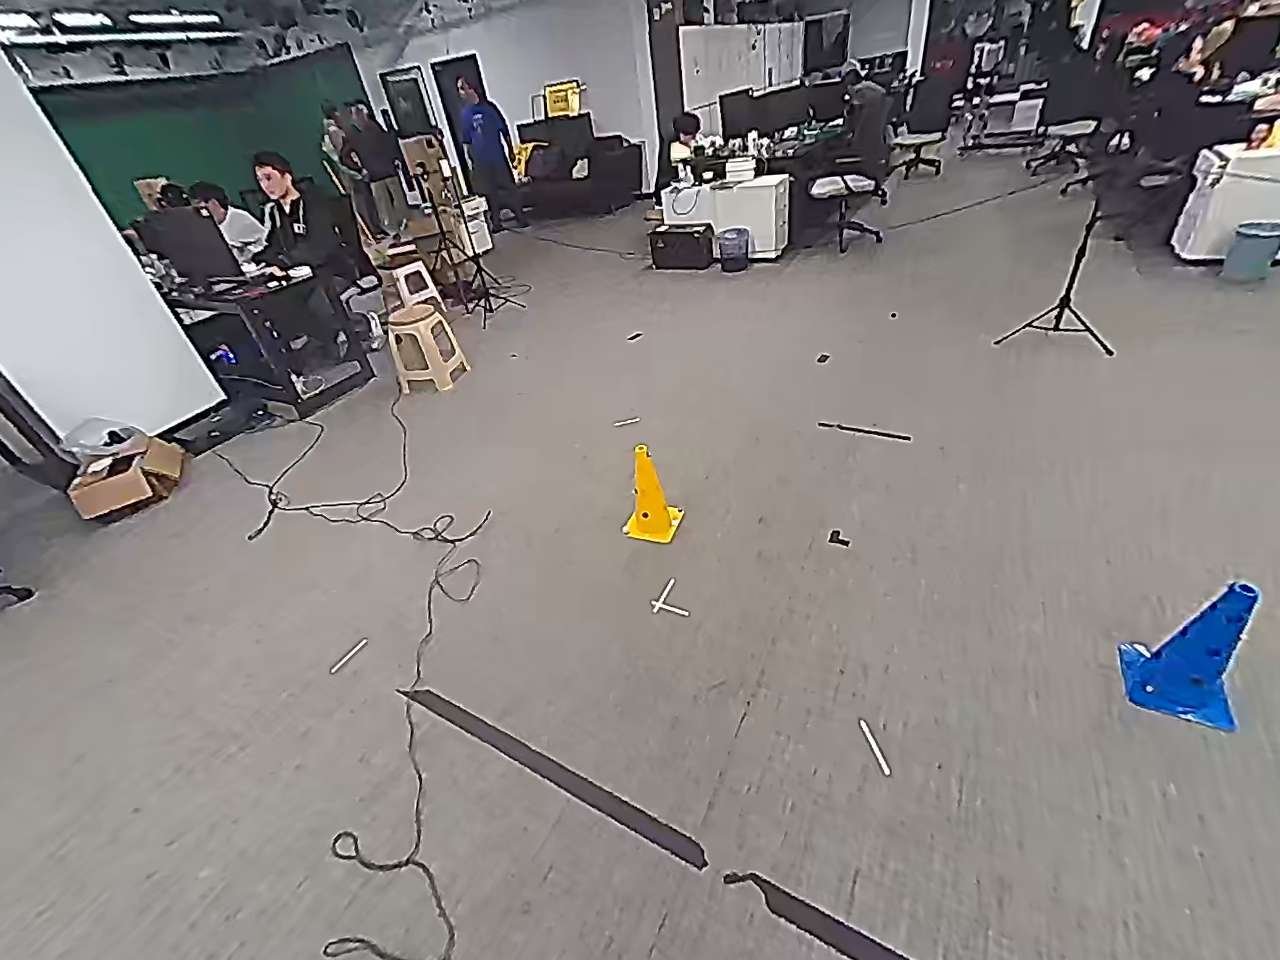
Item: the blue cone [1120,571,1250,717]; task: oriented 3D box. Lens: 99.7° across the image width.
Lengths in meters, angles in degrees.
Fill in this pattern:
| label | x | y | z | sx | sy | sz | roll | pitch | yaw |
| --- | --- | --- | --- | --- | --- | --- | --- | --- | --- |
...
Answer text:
| label | x | y | z | sx | sy | sz | roll | pitch | yaw |
| --- | --- | --- | --- | --- | --- | --- | --- | --- | --- |
| blue cone | 1.323 | 0.365 | 1.273 | 0.193 | 0.380 | 0.192 | 13 | 41 | 28 |
